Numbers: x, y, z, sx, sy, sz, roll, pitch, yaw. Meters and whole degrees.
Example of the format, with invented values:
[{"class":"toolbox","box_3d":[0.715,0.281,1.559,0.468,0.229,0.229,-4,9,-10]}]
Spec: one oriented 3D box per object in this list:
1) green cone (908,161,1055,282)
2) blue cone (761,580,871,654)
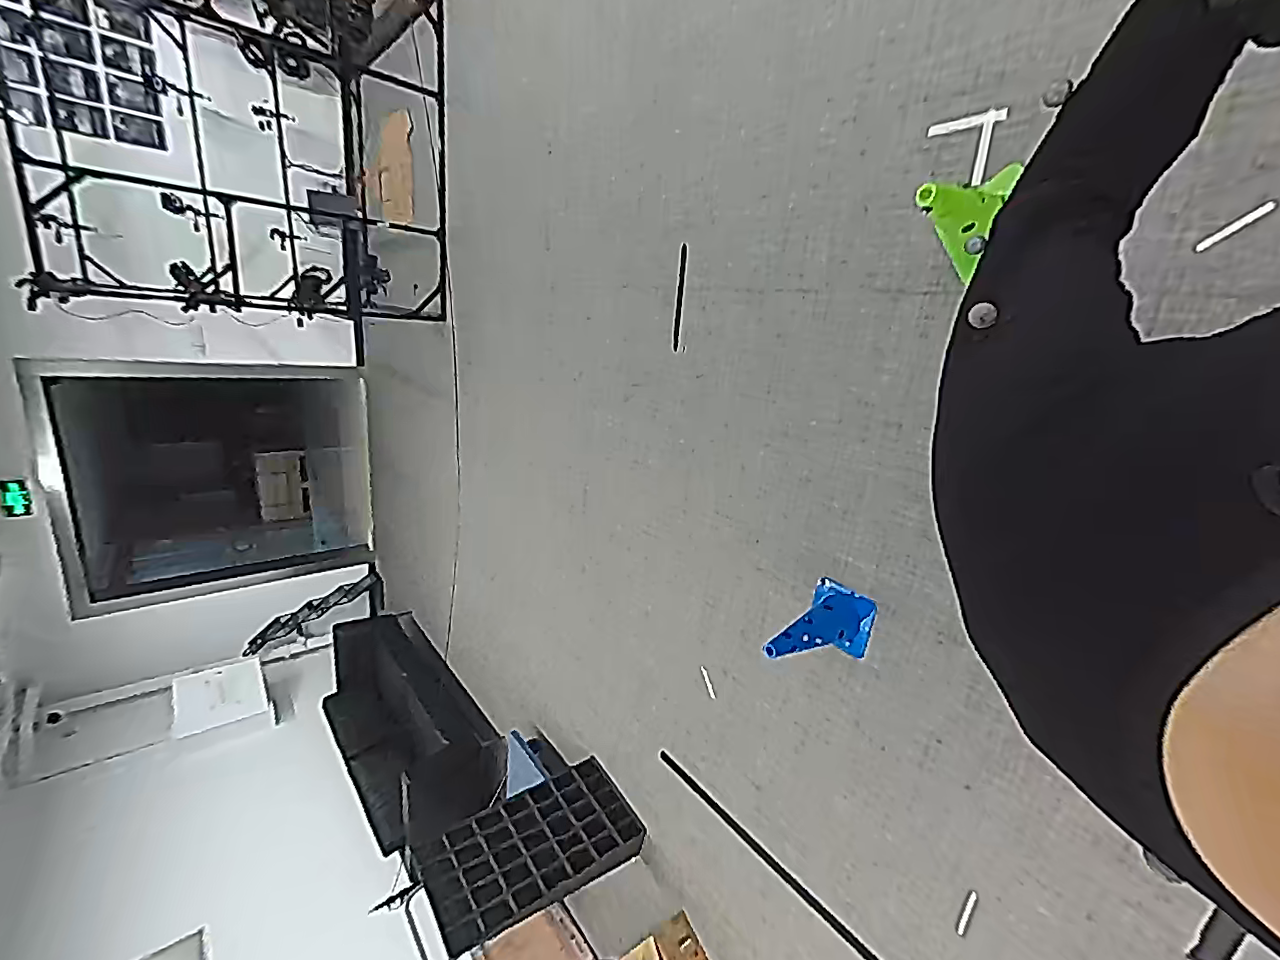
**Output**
[{"class":"green cone","box_3d":[0.687,-0.579,1.159,0.202,0.368,0.200,-34,69,50]},{"class":"blue cone","box_3d":[0.500,0.447,1.599,0.192,0.380,0.193,29,118,46]}]
